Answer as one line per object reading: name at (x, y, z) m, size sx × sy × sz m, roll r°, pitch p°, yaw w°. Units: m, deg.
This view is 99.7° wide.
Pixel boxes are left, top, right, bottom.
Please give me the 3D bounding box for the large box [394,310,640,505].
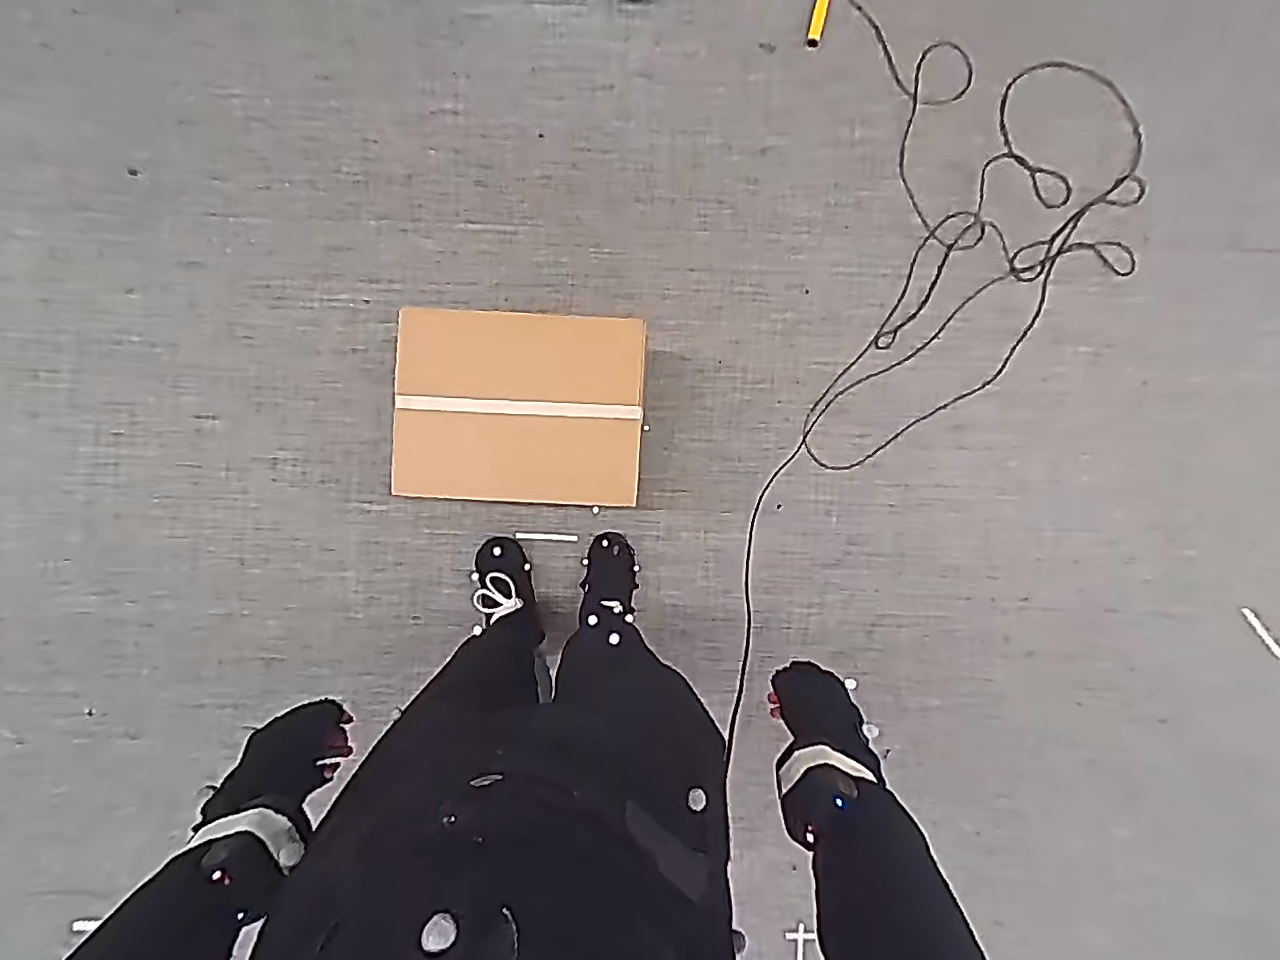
large box at (-0.204, -0.124, 1.045) m, size 0.408 × 0.320 × 0.320 m, roll 3°, pitch 90°, yaw -1°
